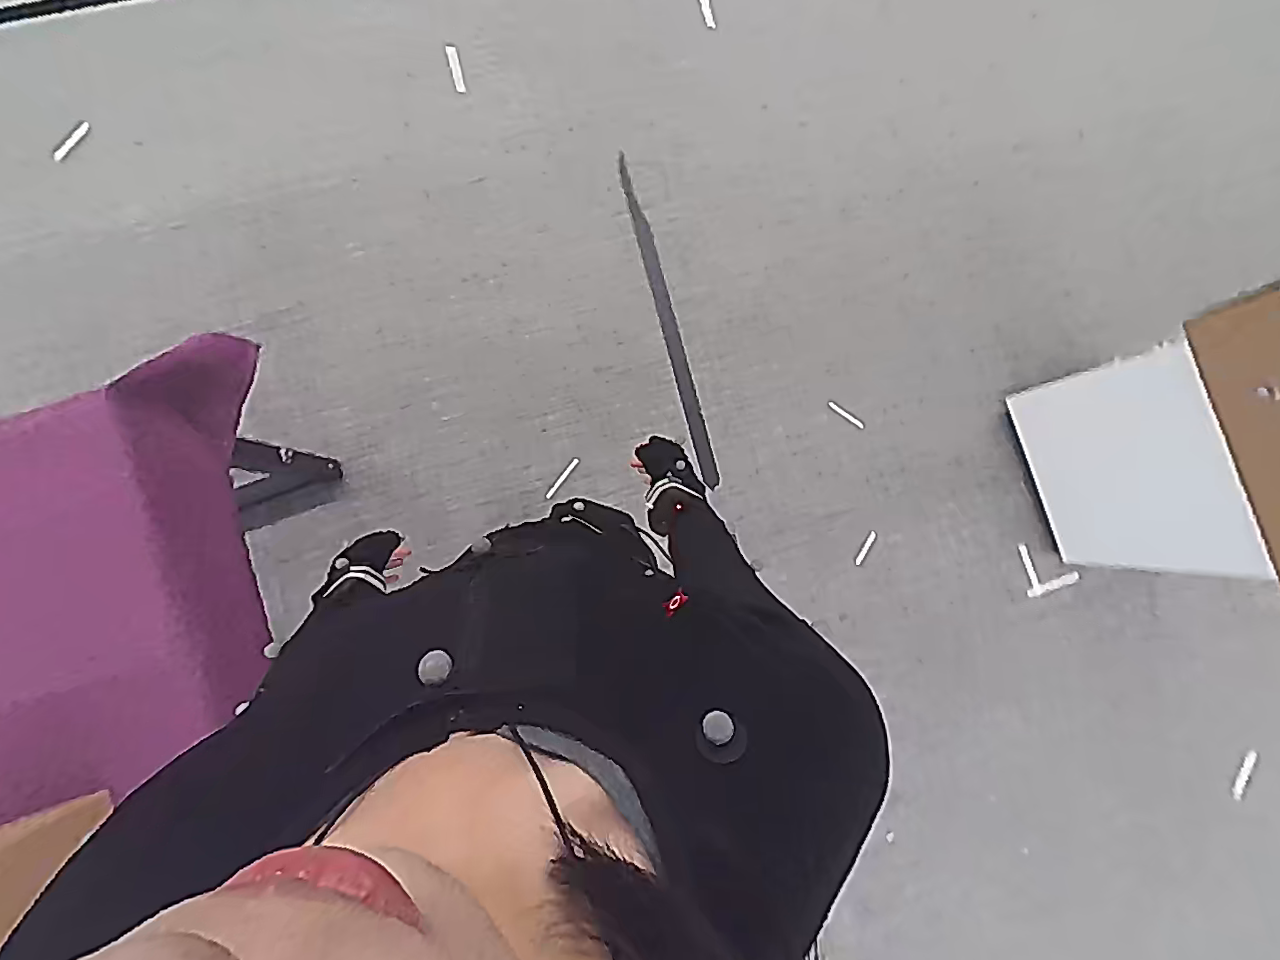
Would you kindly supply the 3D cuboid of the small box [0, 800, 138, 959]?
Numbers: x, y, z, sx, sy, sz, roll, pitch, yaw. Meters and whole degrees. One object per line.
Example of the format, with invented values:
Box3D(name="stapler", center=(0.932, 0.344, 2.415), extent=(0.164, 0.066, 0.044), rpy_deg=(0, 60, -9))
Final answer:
Box3D(name="small box", center=(-0.758, 0.517, 0.629), extent=(0.179, 0.176, 0.168), rpy_deg=(-19, 86, -6))
